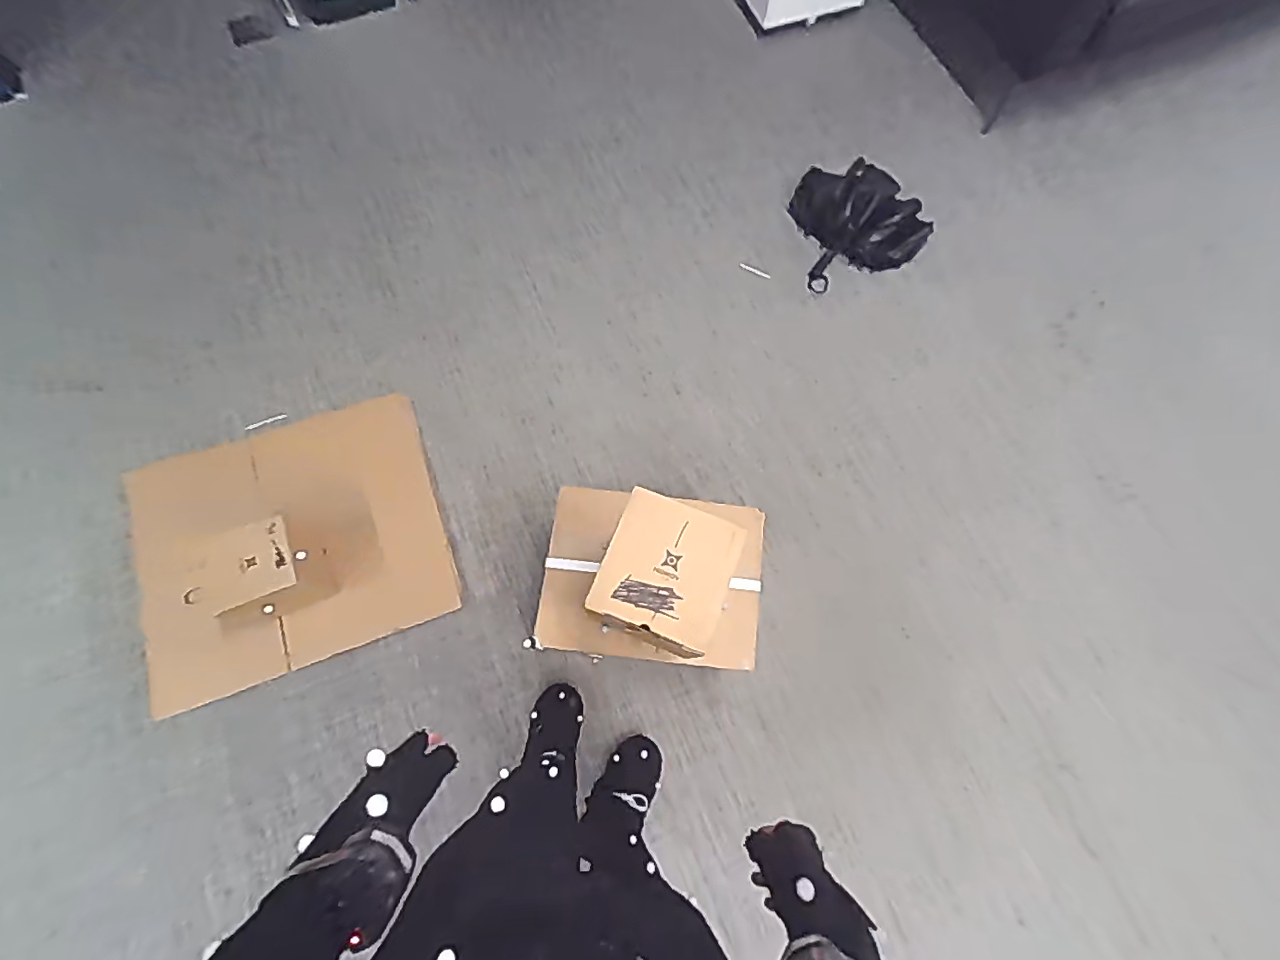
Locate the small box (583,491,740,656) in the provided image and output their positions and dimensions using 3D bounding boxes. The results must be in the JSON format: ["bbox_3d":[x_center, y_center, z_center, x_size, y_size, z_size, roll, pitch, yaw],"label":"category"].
[{"bbox_3d":[0.029,0.142,0.780,0.168,0.176,0.179,18,72,4],"label":"small box"}]

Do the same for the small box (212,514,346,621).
[{"bbox_3d":[-0.806,0.204,1.219,0.179,0.176,0.168,-24,72,-8],"label":"small box"}]
